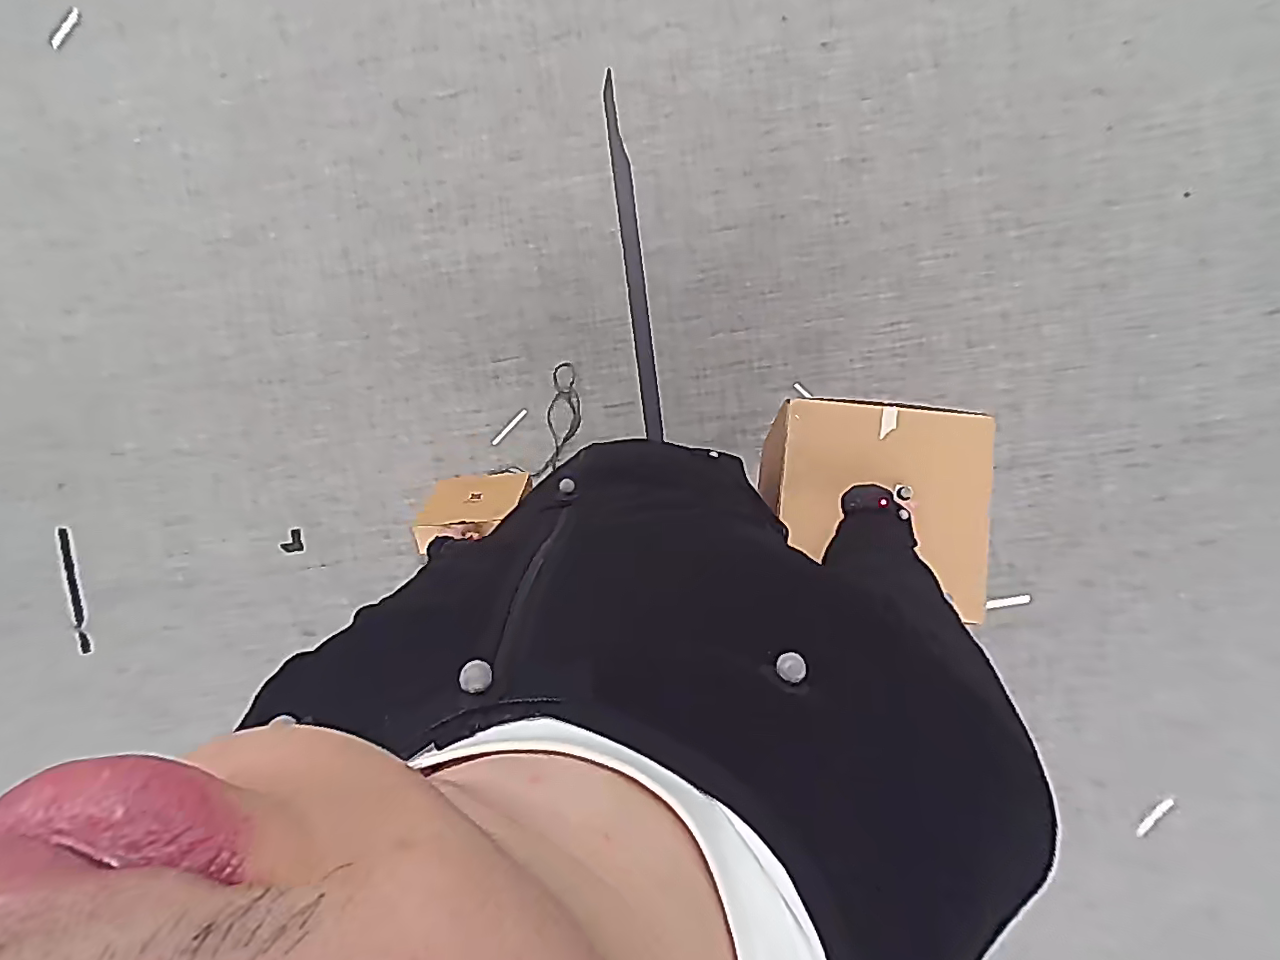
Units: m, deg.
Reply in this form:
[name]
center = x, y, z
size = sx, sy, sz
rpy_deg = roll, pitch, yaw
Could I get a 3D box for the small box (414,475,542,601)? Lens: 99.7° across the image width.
[small box]
center = -0.283, 0.108, 0.989
size = 0.168, 0.179, 0.176
rpy_deg = -4, 117, 2
